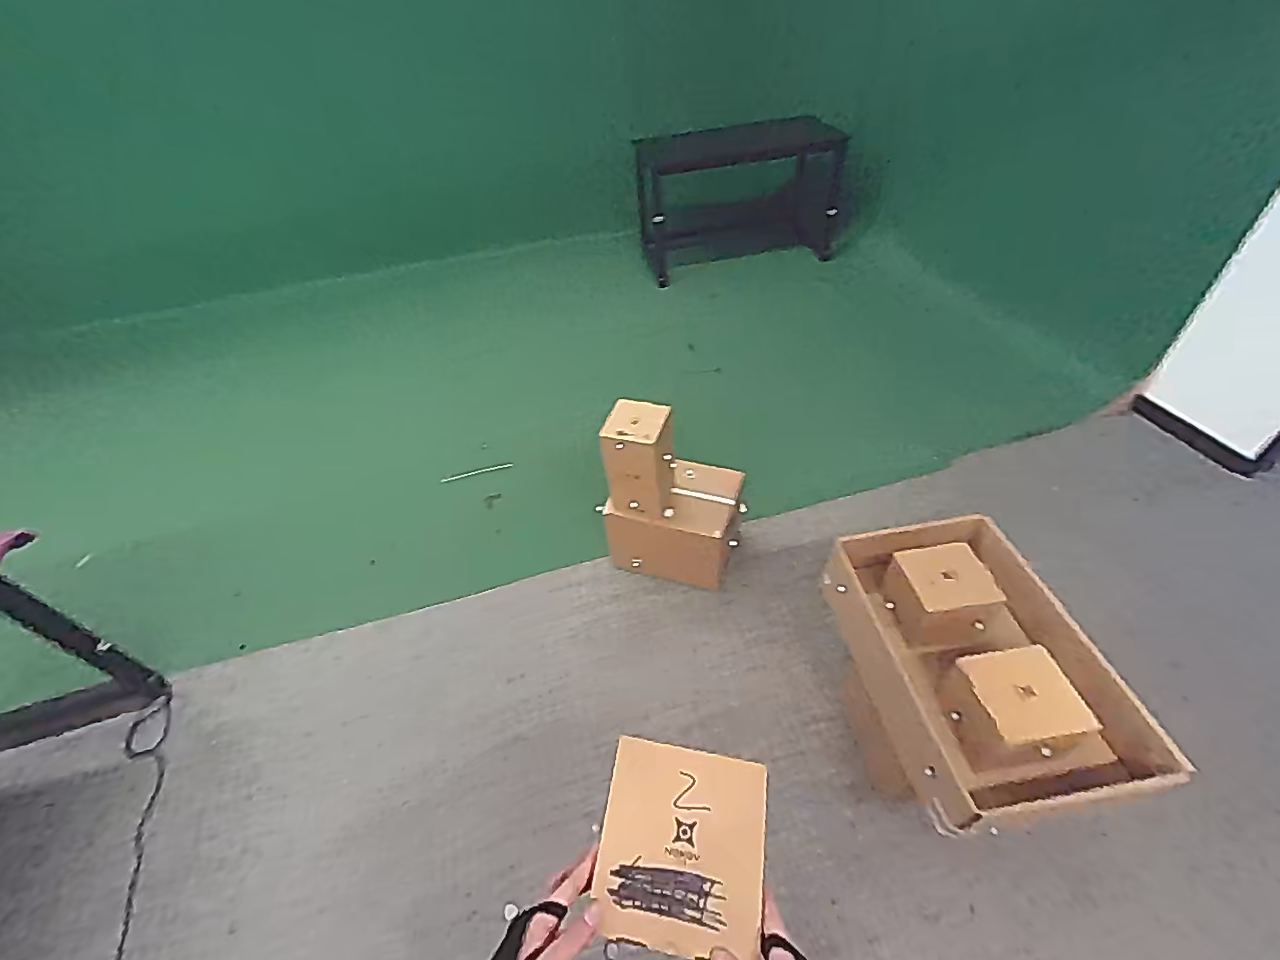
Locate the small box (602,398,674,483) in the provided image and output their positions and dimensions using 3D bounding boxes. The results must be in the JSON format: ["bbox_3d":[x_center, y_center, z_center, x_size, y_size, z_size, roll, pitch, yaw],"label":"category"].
[{"bbox_3d":[-0.001,-0.119,1.626,0.168,0.176,0.179,11,48,16],"label":"small box"}]

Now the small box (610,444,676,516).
[{"bbox_3d":[0.014,-0.013,1.750,0.168,0.176,0.179,11,49,17],"label":"small box"}]

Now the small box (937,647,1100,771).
[{"bbox_3d":[0.731,0.454,1.069,0.179,0.176,0.168,-9,45,-1],"label":"small box"}]
